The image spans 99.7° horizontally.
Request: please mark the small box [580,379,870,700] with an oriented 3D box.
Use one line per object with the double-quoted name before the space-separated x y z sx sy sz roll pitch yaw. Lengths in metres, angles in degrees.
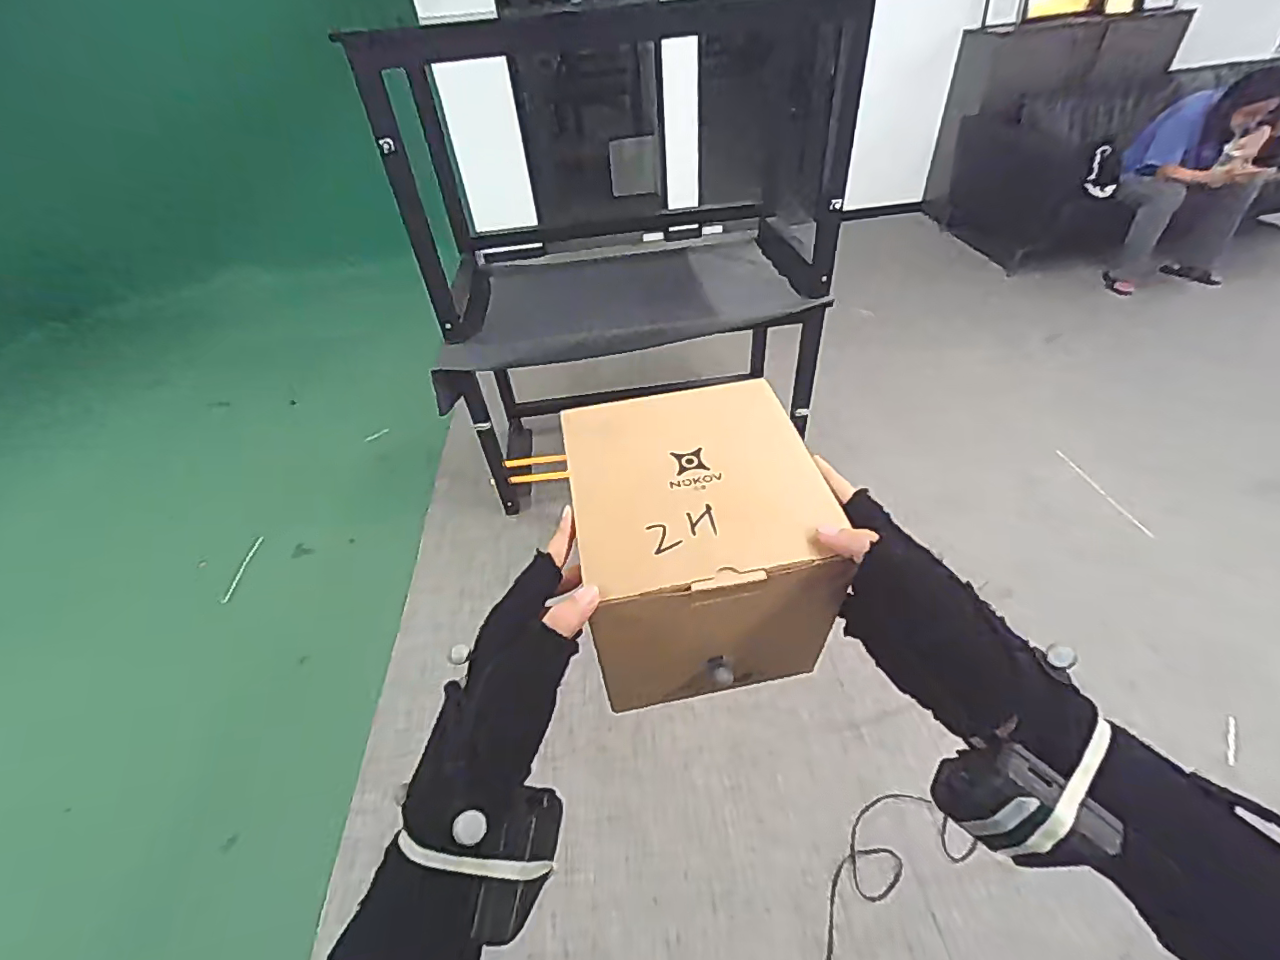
"small box" 0.049 0.046 0.431 0.168 0.176 0.179 -10 46 -4
